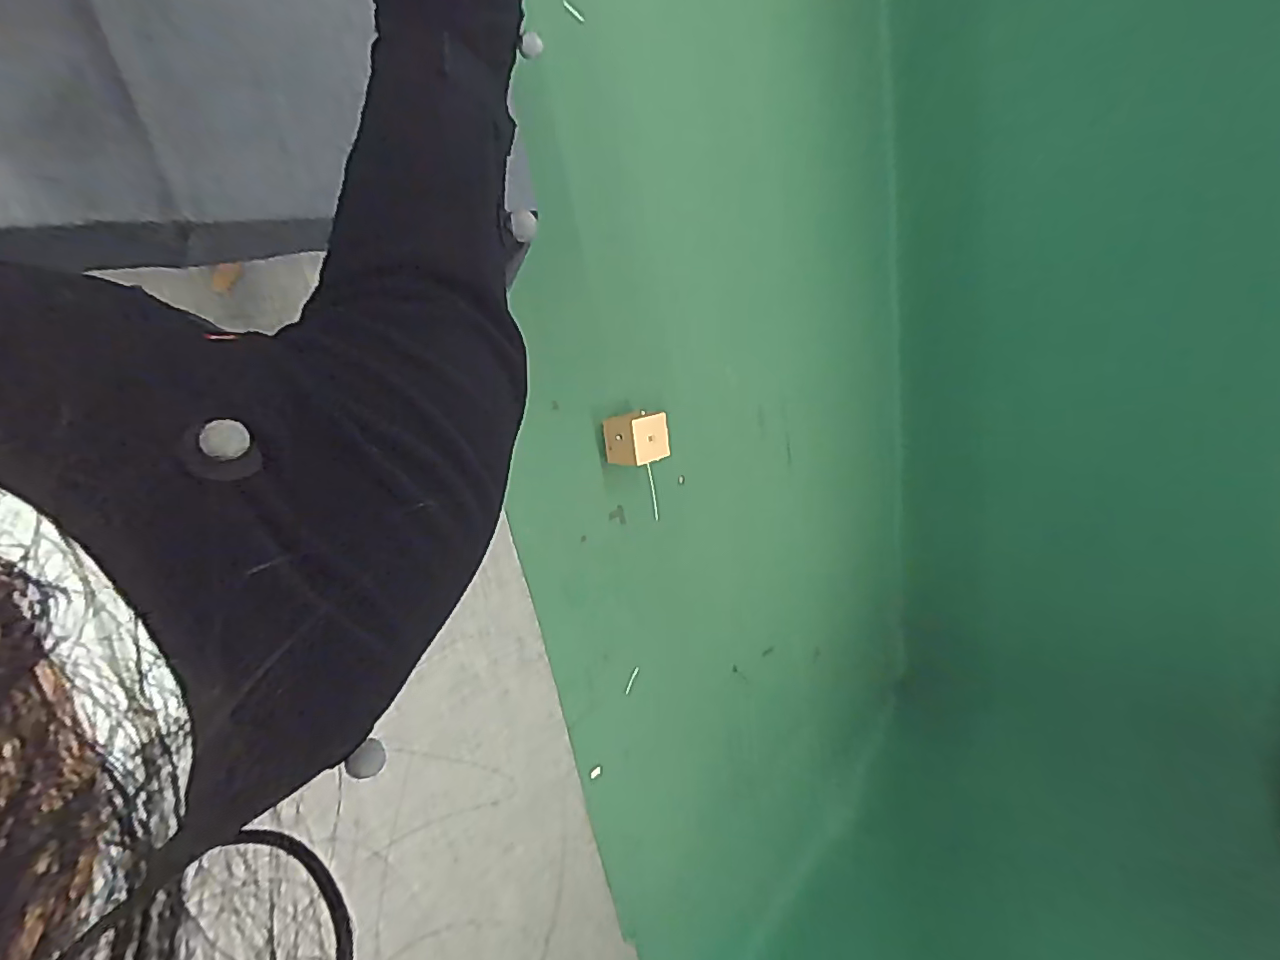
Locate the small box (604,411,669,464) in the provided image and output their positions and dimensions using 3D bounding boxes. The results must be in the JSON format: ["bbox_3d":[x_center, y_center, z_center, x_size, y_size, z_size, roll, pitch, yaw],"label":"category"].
[{"bbox_3d":[-0.017,-0.160,1.998,0.179,0.176,0.168,-20,109,-42],"label":"small box"}]
